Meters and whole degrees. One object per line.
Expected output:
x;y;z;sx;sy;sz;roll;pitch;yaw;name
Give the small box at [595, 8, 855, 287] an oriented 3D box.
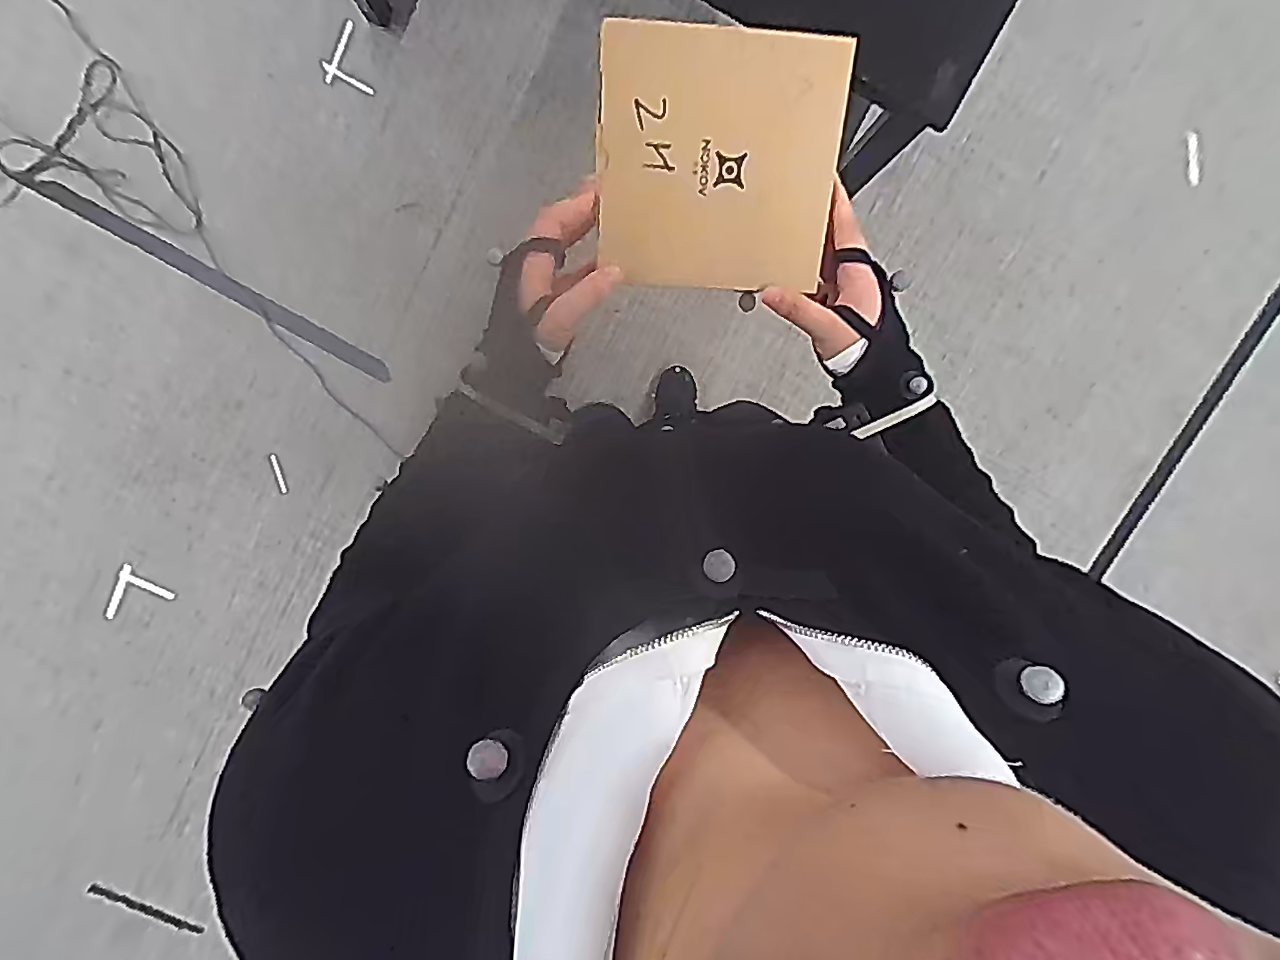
0.052;-0.262;0.464;0.179;0.176;0.168;2;111;-4;small box
